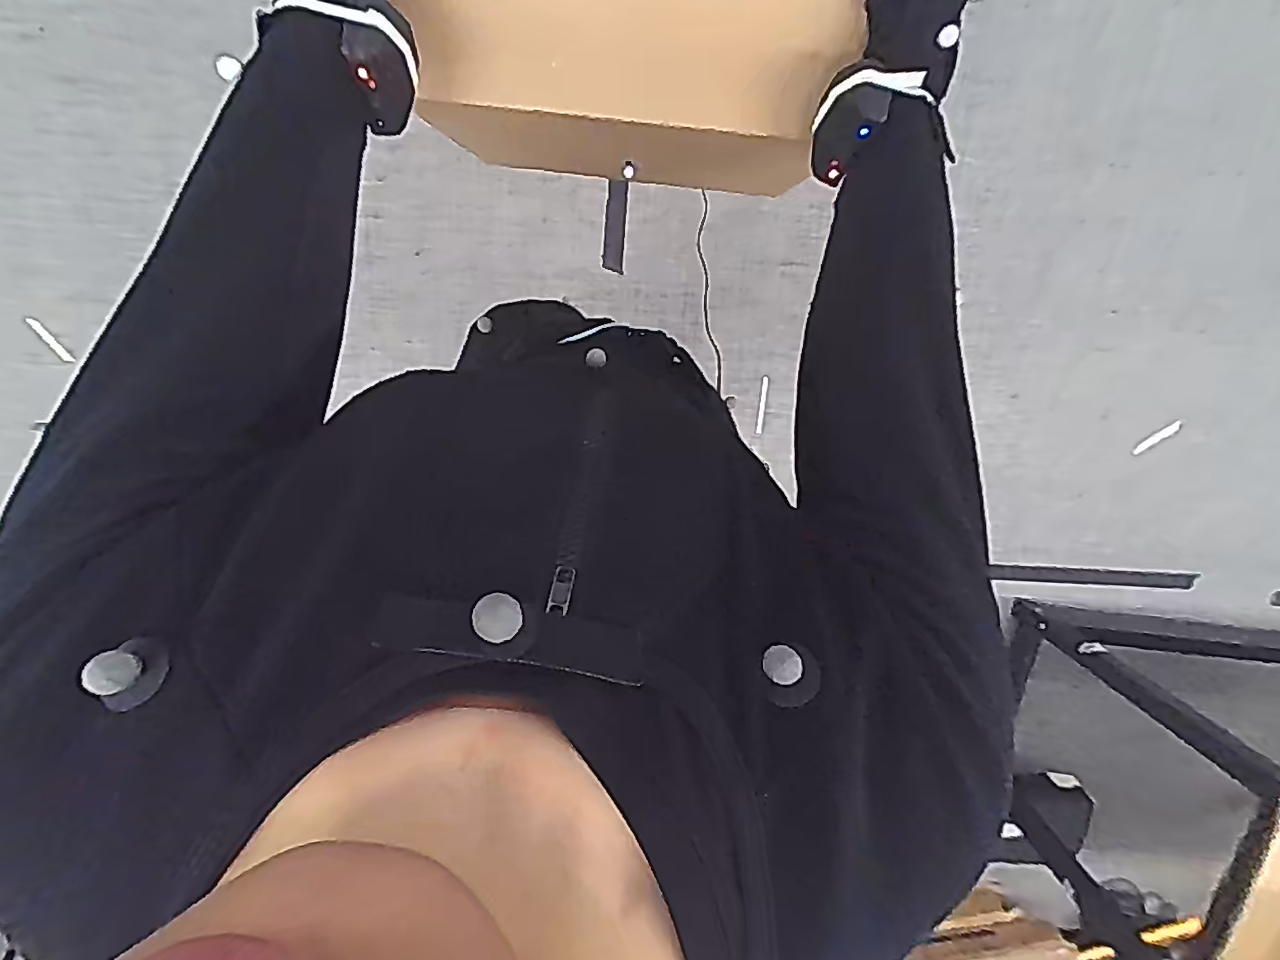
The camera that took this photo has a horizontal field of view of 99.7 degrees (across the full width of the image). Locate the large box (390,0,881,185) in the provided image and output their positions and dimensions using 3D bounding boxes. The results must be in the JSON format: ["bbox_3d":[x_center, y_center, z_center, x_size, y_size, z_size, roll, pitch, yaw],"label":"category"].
[{"bbox_3d":[0.006,-0.506,0.550,0.408,0.320,0.320,5,110,-1],"label":"large box"}]
